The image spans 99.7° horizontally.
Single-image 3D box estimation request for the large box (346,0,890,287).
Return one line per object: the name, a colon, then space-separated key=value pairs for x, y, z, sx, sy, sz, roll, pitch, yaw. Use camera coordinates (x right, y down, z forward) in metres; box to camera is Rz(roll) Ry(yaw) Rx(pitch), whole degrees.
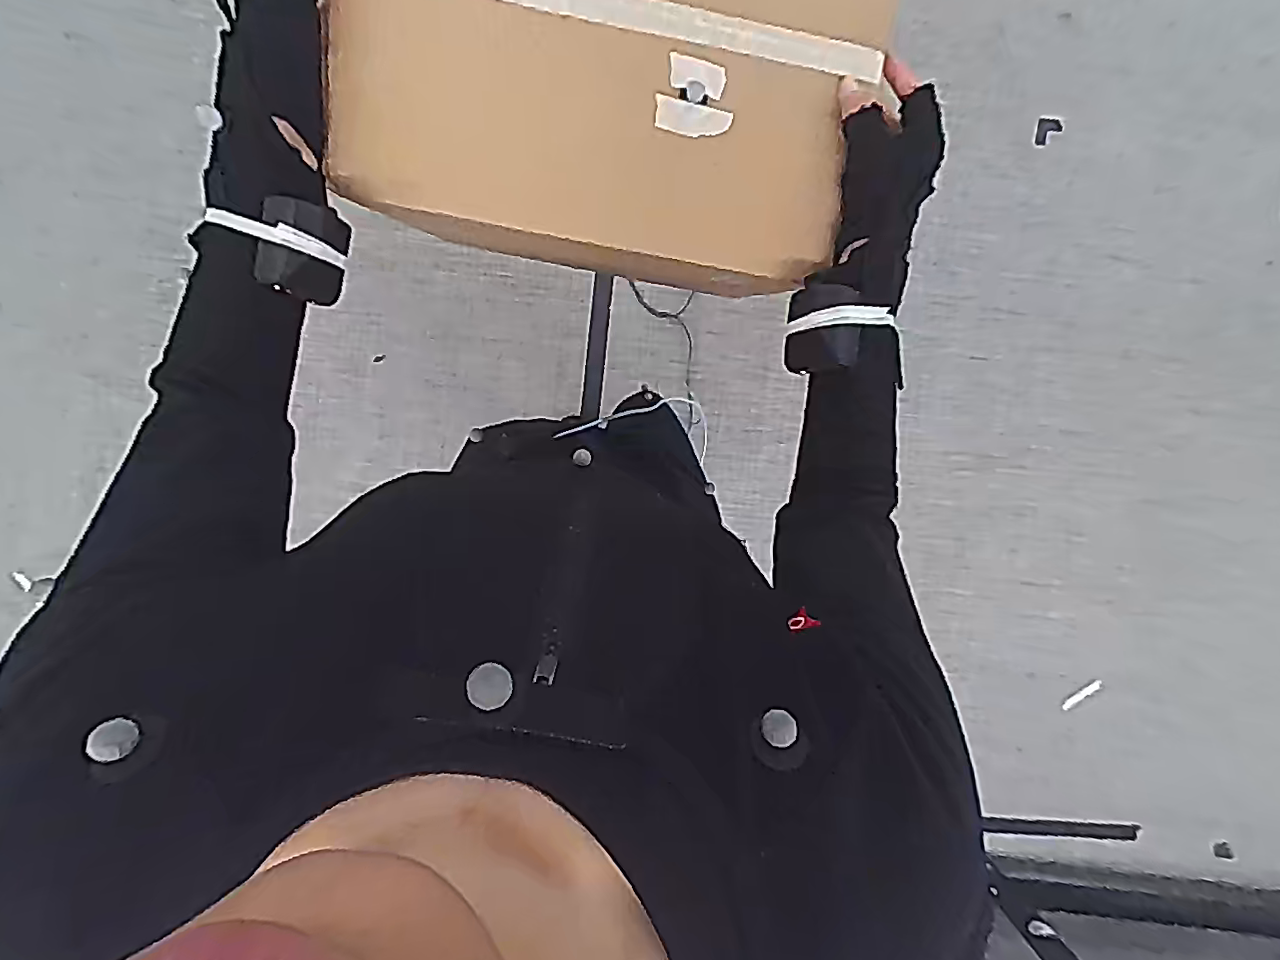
large box: x=-0.023 y=-0.394 z=0.546 sx=0.408 sy=0.320 sz=0.320 roll=9 pitch=107 yaw=-6
